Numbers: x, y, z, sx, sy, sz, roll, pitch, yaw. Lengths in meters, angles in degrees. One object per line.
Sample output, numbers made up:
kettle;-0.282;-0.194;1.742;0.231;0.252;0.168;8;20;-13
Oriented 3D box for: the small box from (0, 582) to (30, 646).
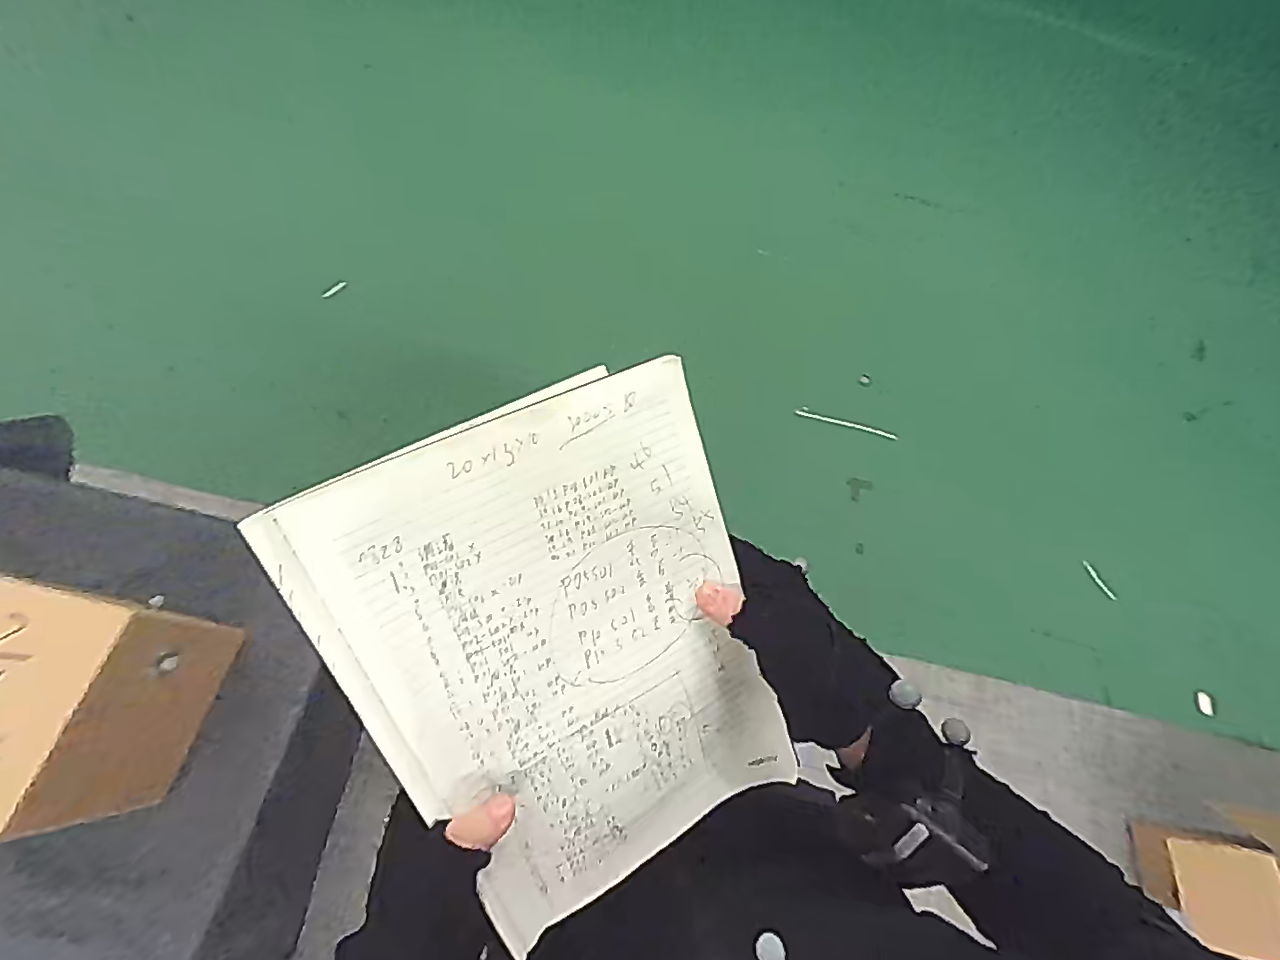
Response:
small box;-0.776;0.146;0.506;0.179;0.176;0.168;16;68;0
